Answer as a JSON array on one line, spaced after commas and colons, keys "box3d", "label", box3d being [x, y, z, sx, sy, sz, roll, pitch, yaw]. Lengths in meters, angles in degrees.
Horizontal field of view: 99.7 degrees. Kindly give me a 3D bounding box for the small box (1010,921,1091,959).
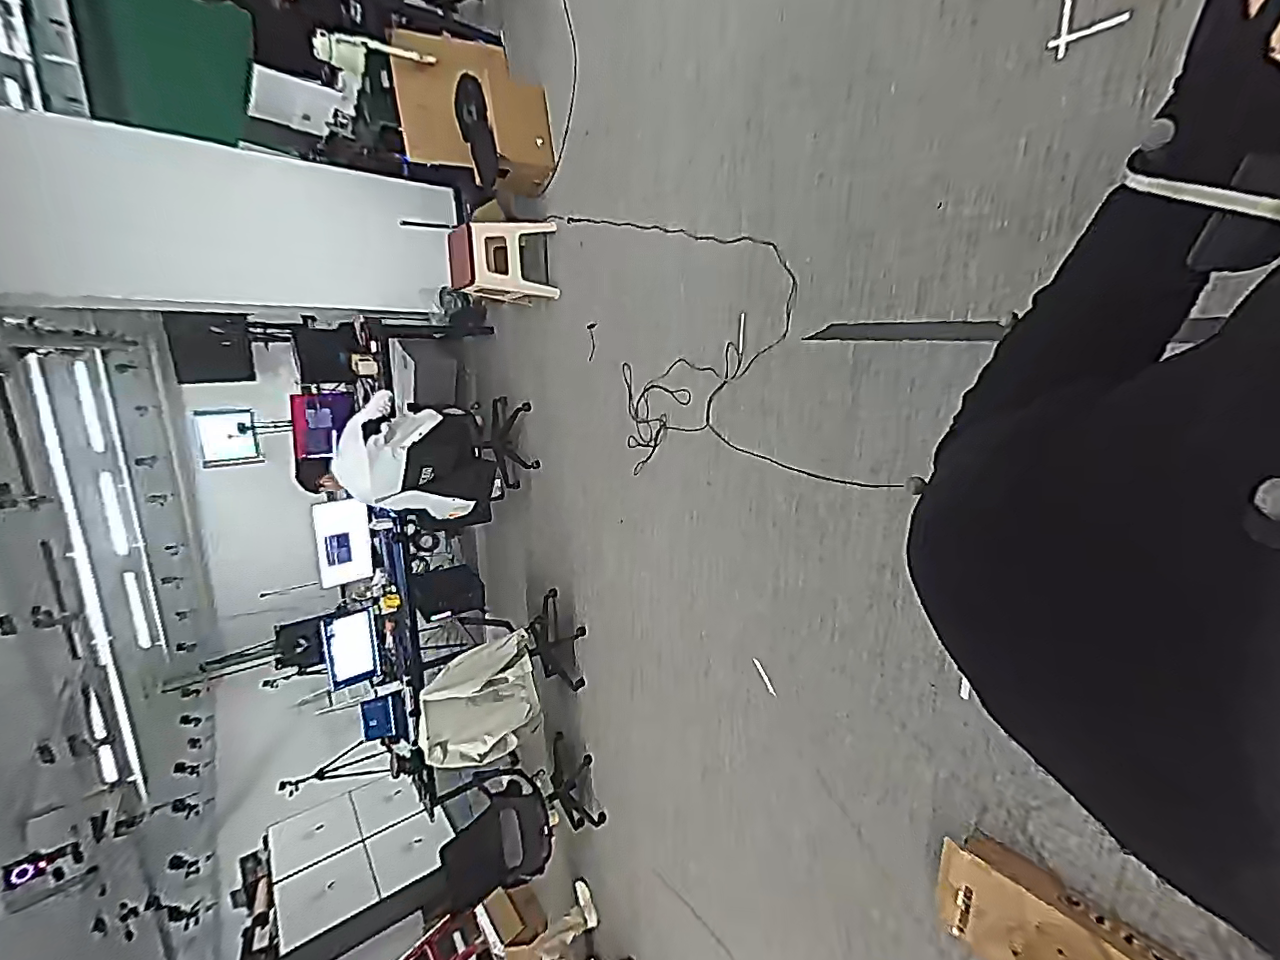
[{"box3d": [0.982, 1.221, 1.285, 0.168, 0.176, 0.179, 23, 116, 49], "label": "small box"}]
